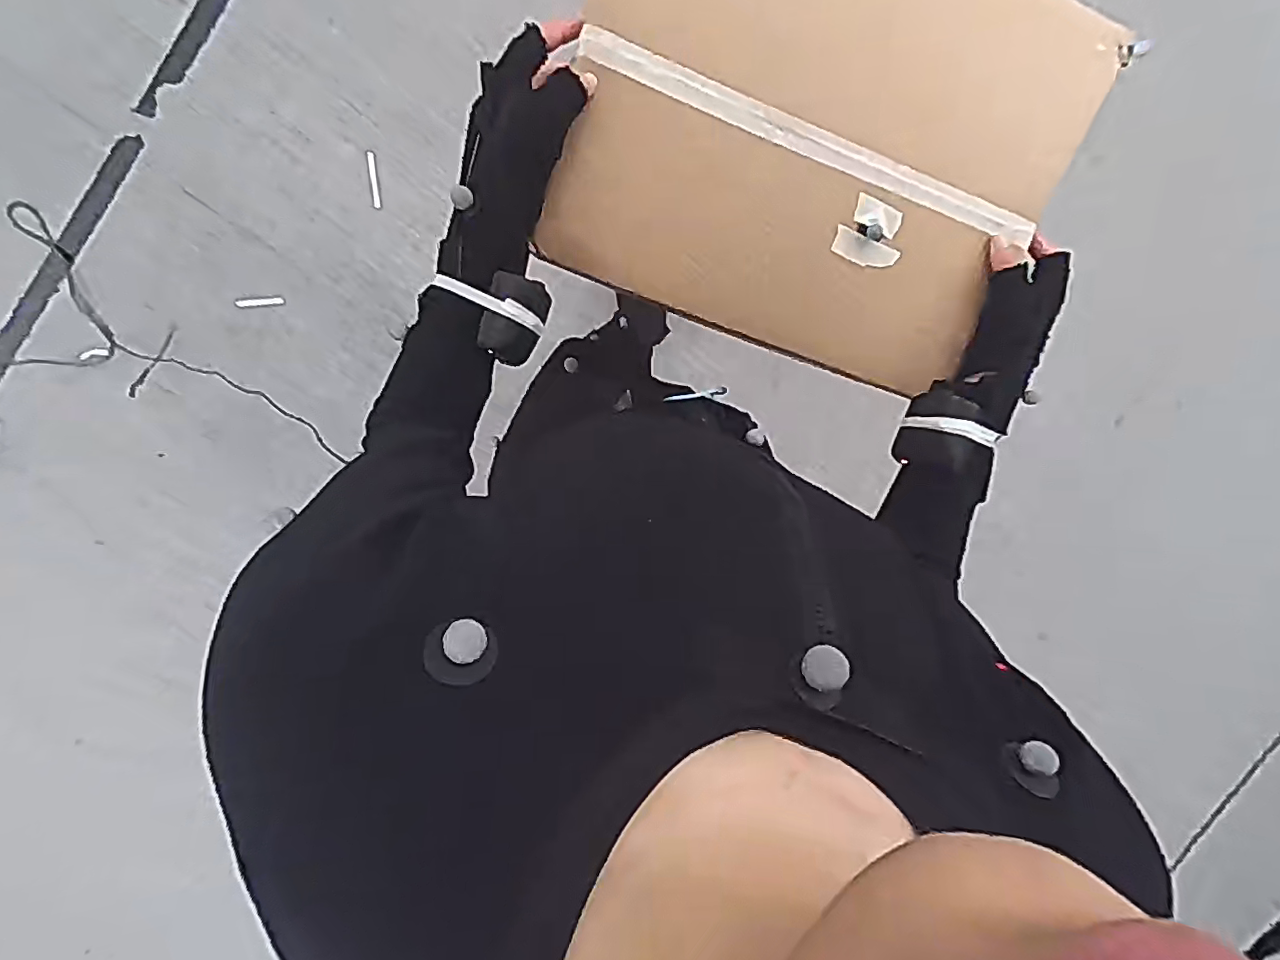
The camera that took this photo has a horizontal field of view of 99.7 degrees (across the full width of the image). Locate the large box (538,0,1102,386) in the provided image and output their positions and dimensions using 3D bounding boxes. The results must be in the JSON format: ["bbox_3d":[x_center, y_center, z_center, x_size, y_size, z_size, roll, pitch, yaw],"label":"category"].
[{"bbox_3d":[0.134,-0.332,0.593,0.408,0.320,0.320,18,108,-10],"label":"large box"}]
